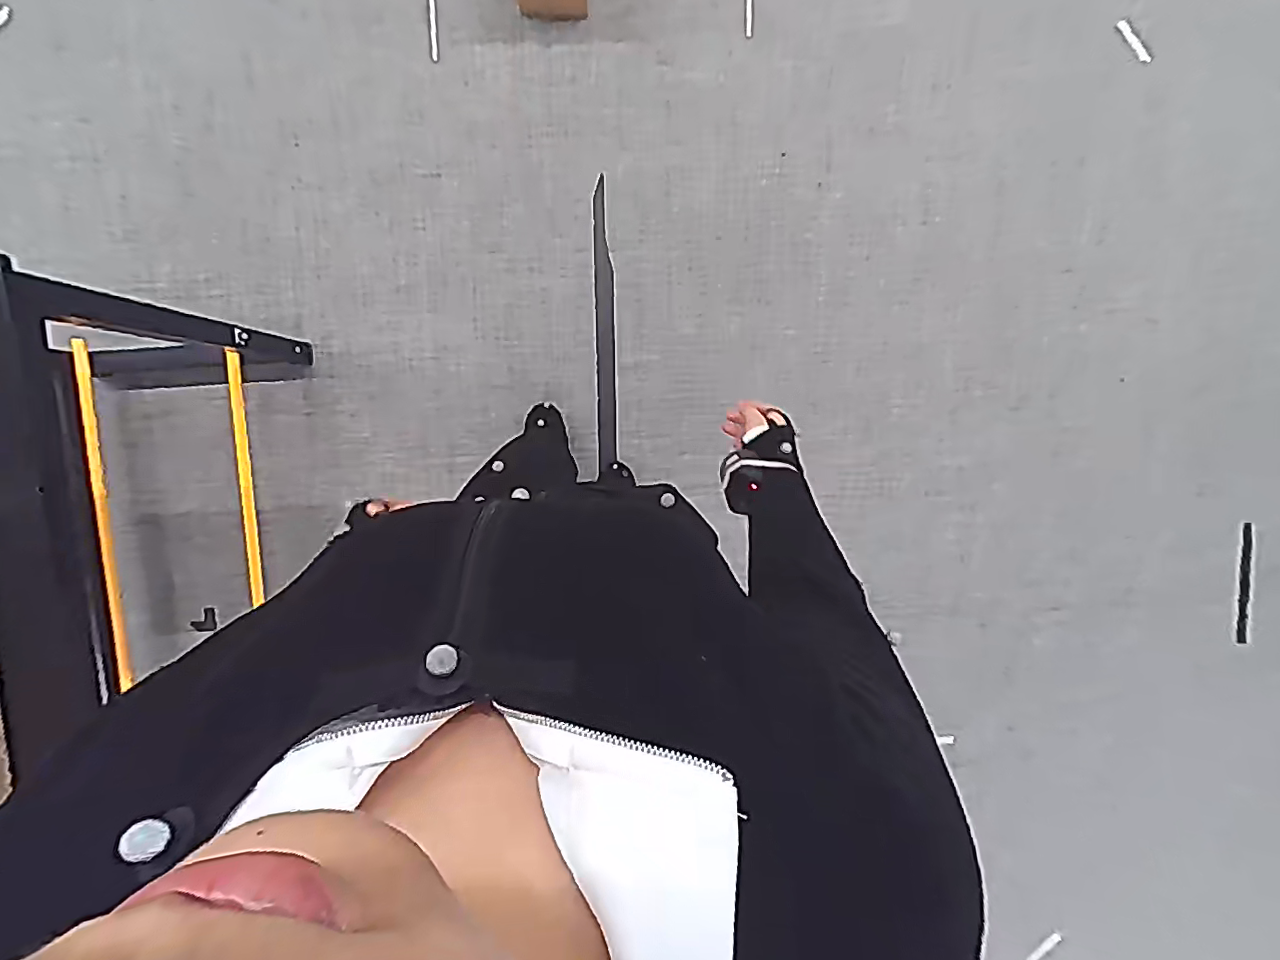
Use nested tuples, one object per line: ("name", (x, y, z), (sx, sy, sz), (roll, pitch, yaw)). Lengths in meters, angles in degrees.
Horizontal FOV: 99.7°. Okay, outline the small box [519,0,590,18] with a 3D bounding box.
("small box", (-0.208, -1.240, 1.274), (0.179, 0.176, 0.168), (2, 96, -3))
